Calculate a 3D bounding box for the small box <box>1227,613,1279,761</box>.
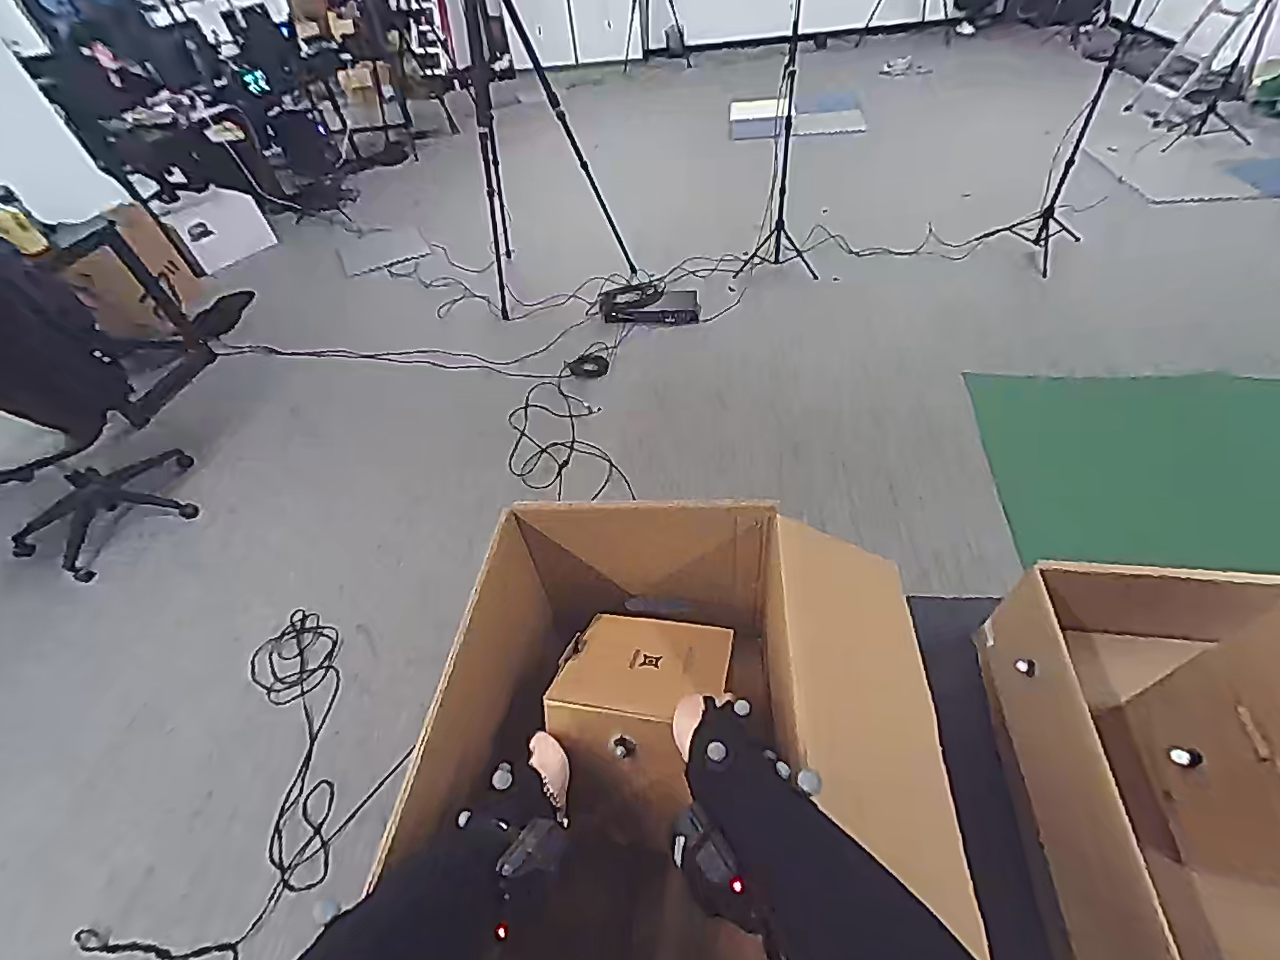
[{"bbox_3d":[0.611,0.174,0.393,0.168,0.176,0.179,3,49,11],"label":"small box"}]
